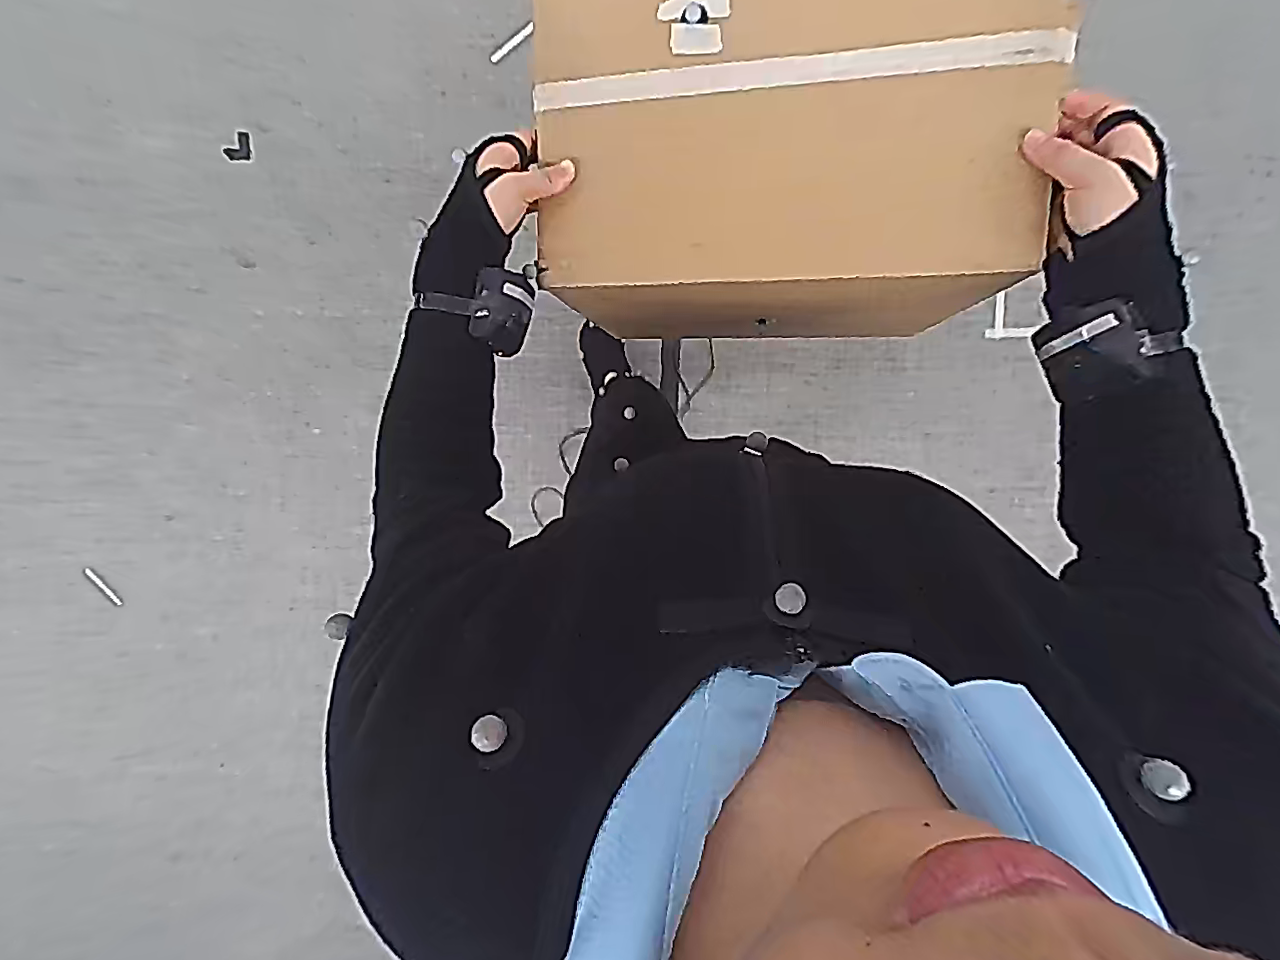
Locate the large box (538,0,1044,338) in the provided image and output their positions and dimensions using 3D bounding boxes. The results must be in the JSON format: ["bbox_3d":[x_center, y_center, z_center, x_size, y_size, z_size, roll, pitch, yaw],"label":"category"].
[{"bbox_3d":[0.136,-0.339,0.587,0.408,0.320,0.320,1,94,12],"label":"large box"}]
